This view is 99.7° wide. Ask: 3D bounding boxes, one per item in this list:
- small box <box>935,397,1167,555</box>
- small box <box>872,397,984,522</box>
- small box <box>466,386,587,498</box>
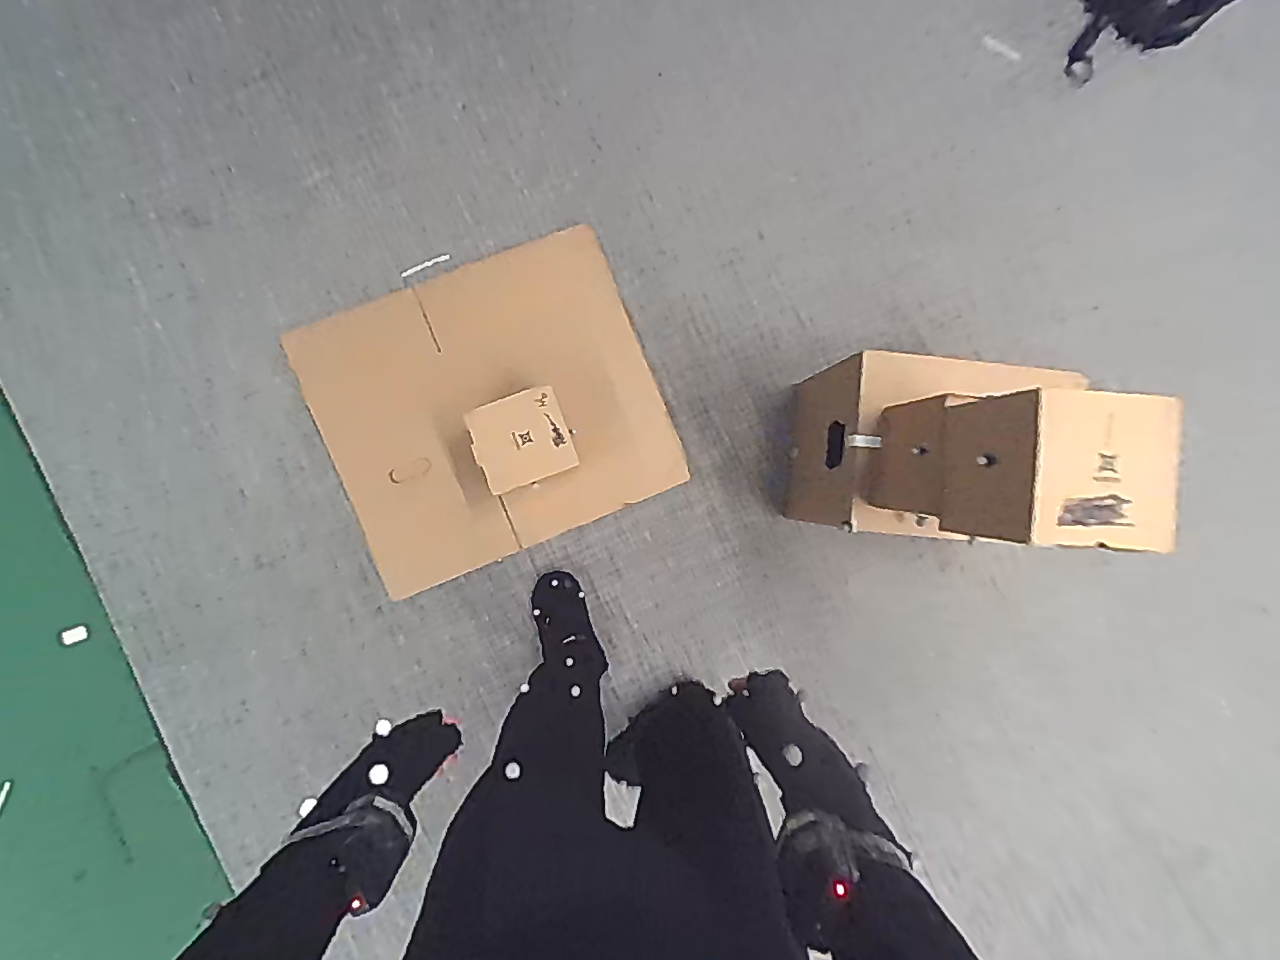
[{"bbox_3d":[0.497,-0.007,0.679,0.168,0.176,0.179,0,91,-3],"label":"small box"},{"bbox_3d":[0.485,-0.022,0.843,0.168,0.176,0.179,8,91,-3],"label":"small box"},{"bbox_3d":[-0.219,-0.067,1.089,0.179,0.176,0.168,-23,89,-2],"label":"small box"}]
